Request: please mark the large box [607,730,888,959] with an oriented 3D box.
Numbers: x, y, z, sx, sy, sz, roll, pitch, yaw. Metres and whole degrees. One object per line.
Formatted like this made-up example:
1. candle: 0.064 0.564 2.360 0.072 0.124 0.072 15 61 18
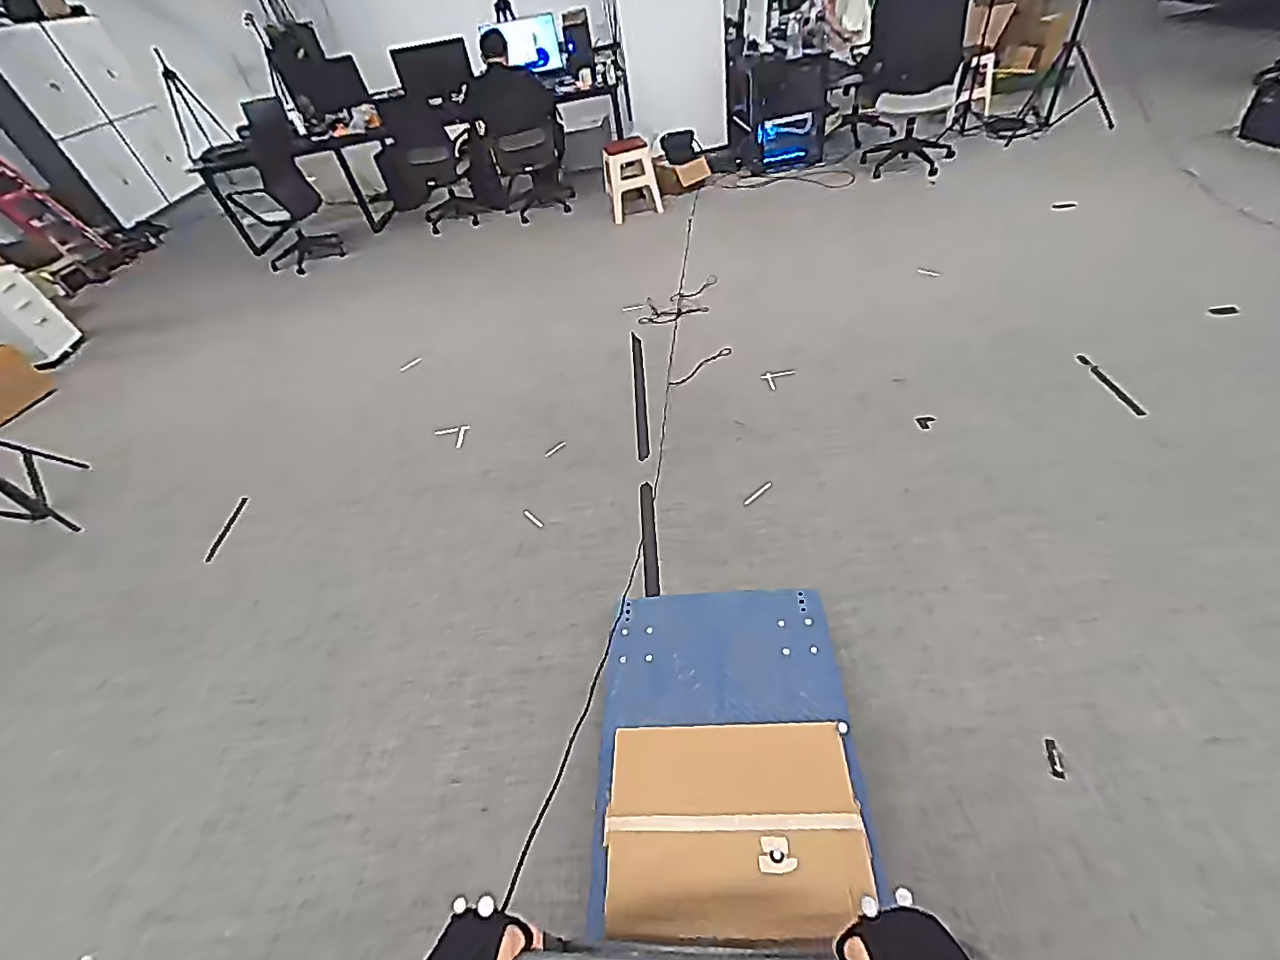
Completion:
1. large box: 0.170 0.673 0.969 0.408 0.320 0.320 -5 45 7
